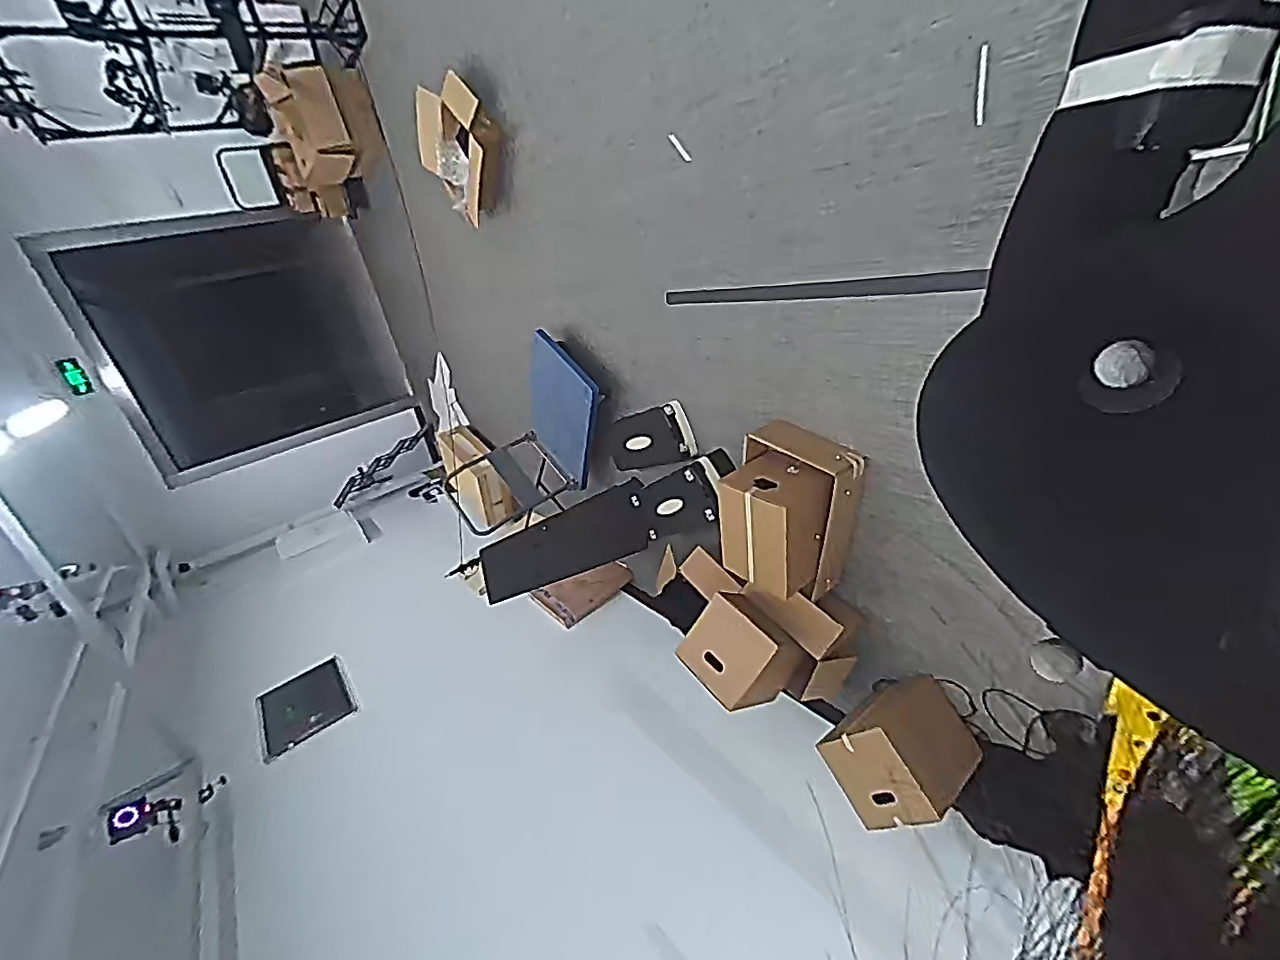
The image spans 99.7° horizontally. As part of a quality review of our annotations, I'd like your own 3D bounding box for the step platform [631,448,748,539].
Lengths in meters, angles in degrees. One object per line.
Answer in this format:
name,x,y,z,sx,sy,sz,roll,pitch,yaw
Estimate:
step platform,0.210,0.085,2.639,0.286,0.204,0.684,62,149,1
